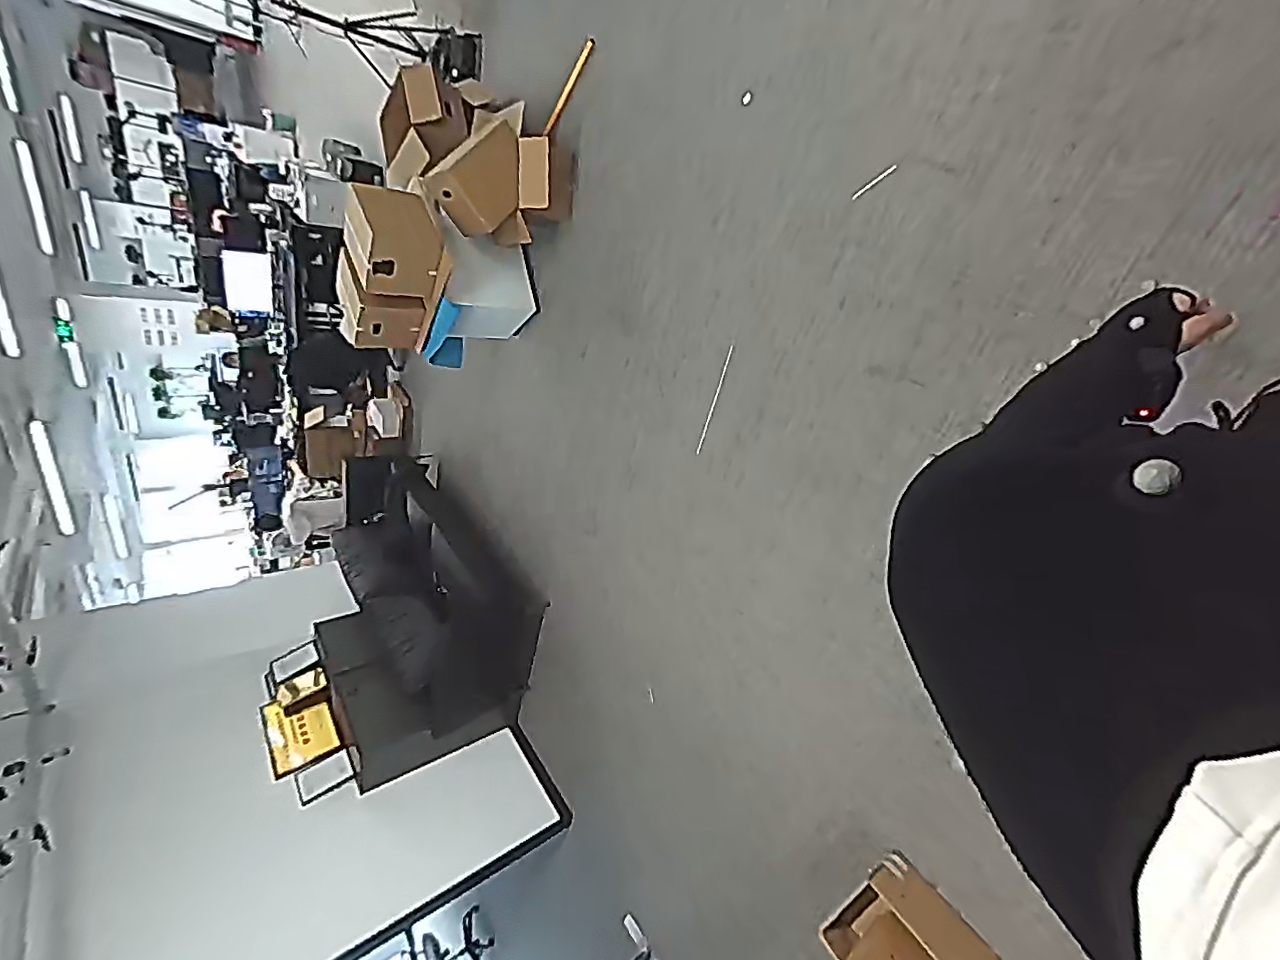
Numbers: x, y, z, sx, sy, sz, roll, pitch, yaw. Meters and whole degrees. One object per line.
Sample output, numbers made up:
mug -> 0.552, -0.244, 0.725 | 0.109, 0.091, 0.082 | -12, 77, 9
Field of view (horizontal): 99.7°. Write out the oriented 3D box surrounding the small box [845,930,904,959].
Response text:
small box -> 0.705, 1.523, 1.629 | 0.168, 0.176, 0.179 | 43, 127, 36
